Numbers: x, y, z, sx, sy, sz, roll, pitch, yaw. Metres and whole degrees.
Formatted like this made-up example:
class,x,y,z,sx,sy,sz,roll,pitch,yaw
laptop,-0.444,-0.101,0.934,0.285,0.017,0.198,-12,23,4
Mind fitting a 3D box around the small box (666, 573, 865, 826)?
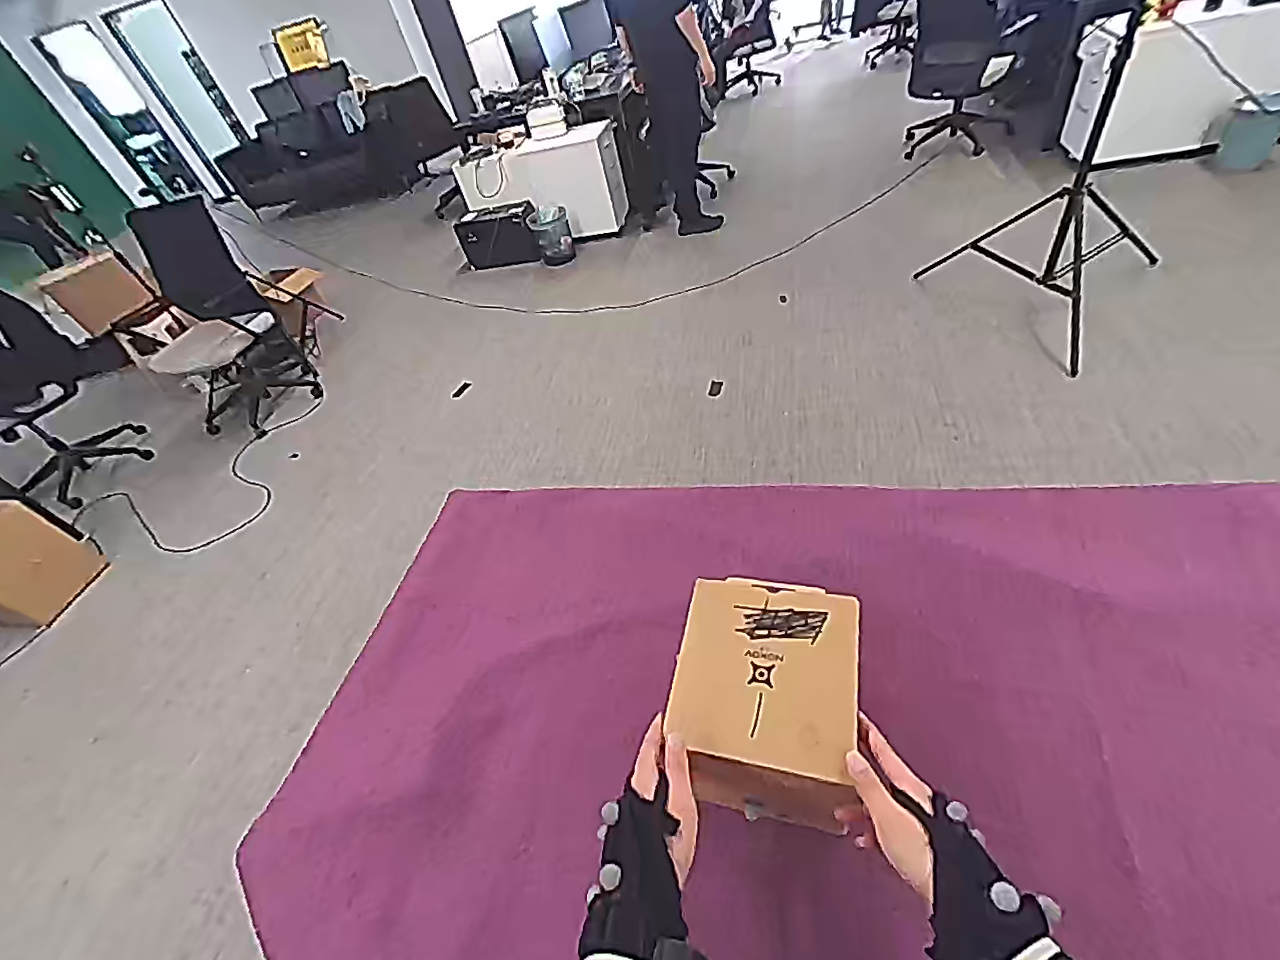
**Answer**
class,x,y,z,sx,sy,sz,roll,pitch,yaw
small box,0.136,0.223,0.559,0.168,0.176,0.179,3,47,20
